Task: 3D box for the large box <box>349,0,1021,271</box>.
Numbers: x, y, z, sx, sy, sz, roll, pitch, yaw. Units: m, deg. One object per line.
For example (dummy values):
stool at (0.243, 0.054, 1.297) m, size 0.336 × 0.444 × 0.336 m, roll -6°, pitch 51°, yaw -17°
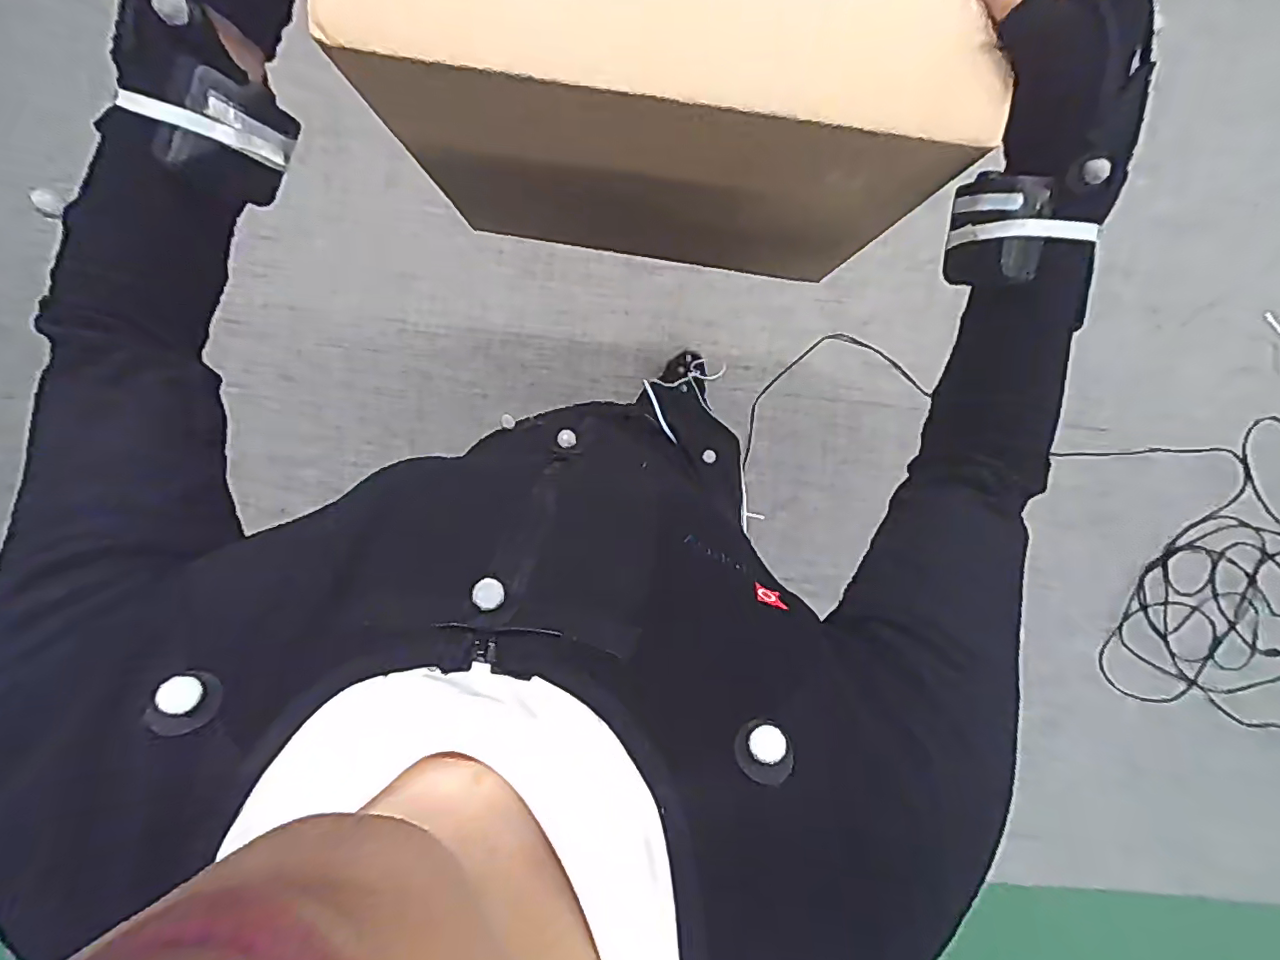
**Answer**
large box at (0.036, -0.398, 0.458) m, size 0.408 × 0.320 × 0.320 m, roll 7°, pitch 96°, yaw -3°
